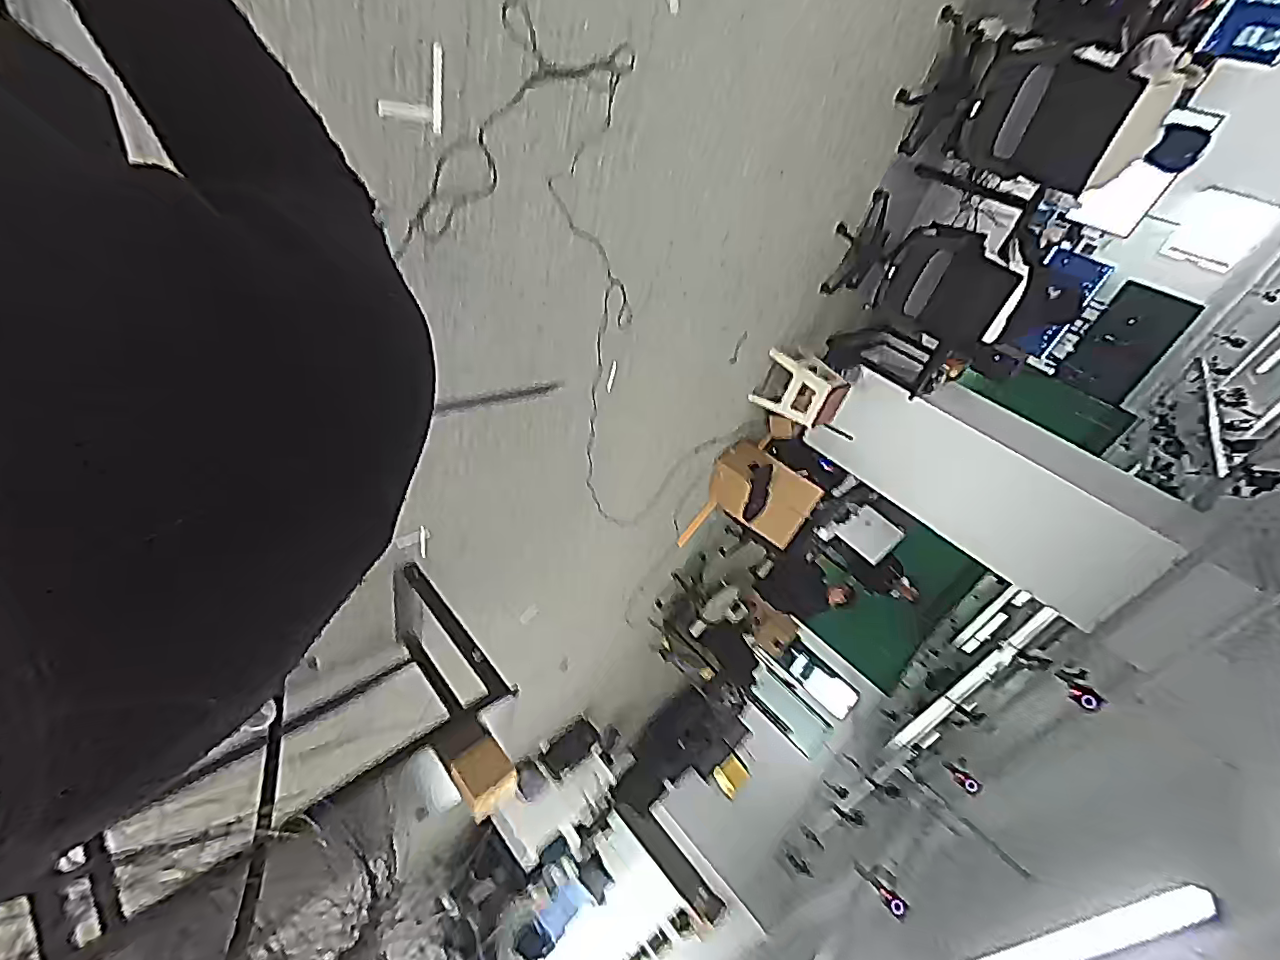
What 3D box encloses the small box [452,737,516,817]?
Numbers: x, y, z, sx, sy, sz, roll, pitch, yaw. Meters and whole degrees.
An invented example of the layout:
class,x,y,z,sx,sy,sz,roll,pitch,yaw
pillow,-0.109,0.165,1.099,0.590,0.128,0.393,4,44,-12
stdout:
class,x,y,z,sx,sy,sz,roll,pitch,yaw
small box,-0.573,1.079,1.977,0.168,0.176,0.179,-25,145,-38
